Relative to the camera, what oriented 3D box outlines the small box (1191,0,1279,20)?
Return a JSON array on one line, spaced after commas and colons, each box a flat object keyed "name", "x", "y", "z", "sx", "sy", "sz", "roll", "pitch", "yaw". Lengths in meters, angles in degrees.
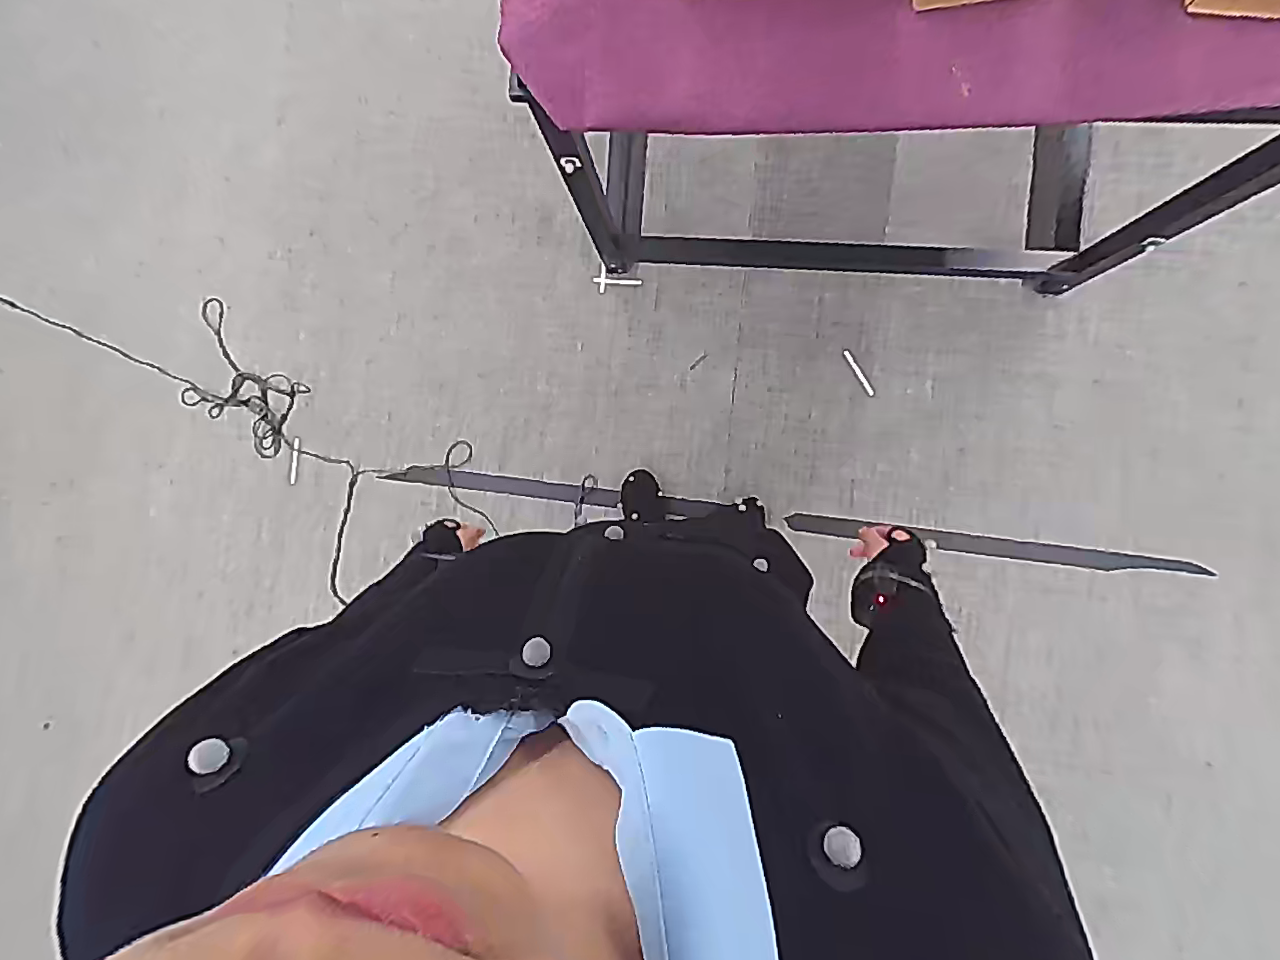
[{"name": "small box", "x": 0.771, "y": -0.666, "z": 0.597, "sx": 0.168, "sy": 0.176, "sz": 0.179, "roll": 10, "pitch": 90, "yaw": 6}]
